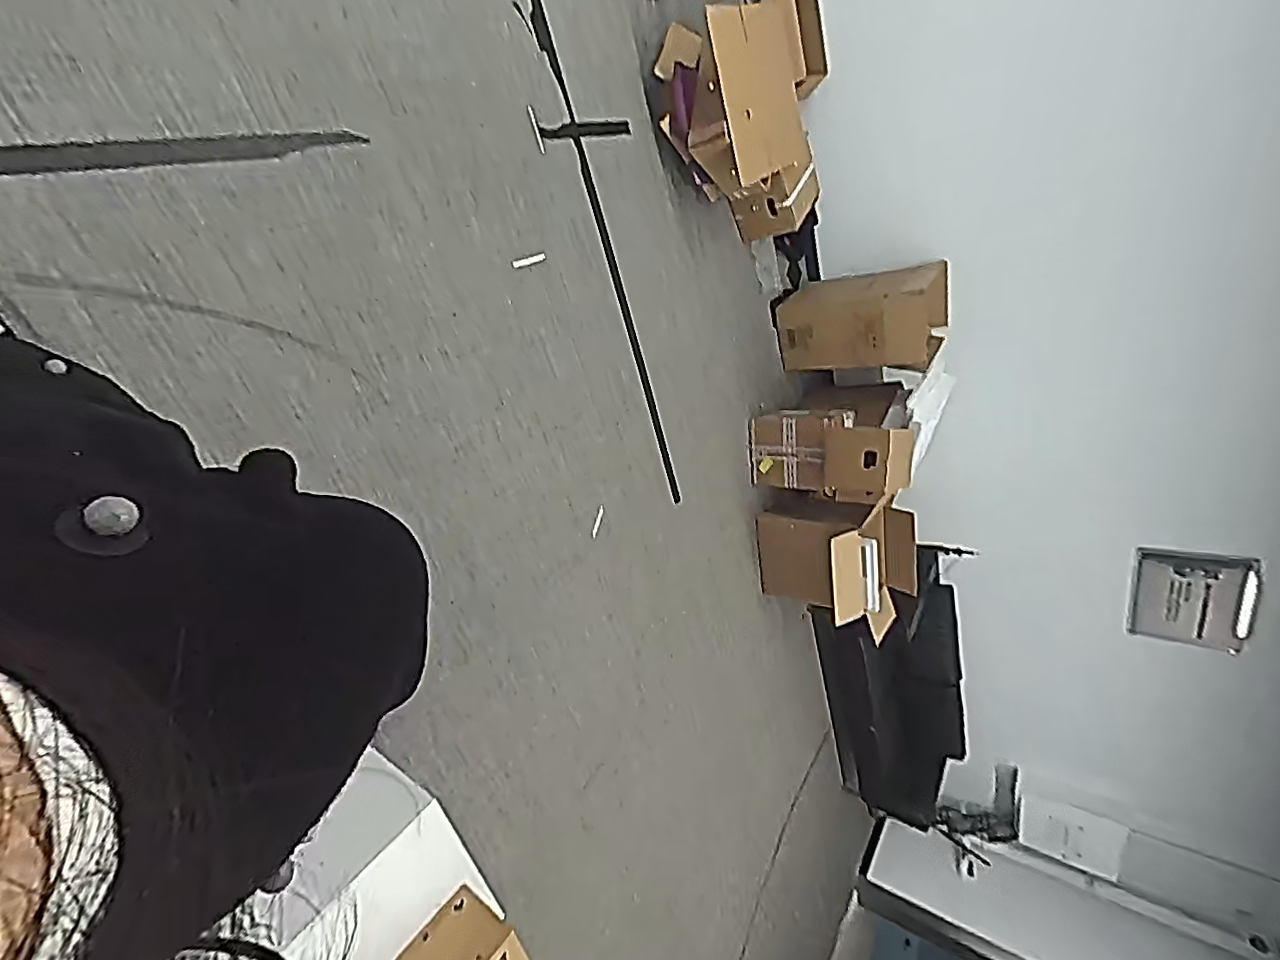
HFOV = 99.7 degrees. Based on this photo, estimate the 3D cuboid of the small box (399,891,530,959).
[{"bbox_3d":[-0.329,0.941,1.036,0.168,0.176,0.179,-35,120,-43],"label":"small box"}]
